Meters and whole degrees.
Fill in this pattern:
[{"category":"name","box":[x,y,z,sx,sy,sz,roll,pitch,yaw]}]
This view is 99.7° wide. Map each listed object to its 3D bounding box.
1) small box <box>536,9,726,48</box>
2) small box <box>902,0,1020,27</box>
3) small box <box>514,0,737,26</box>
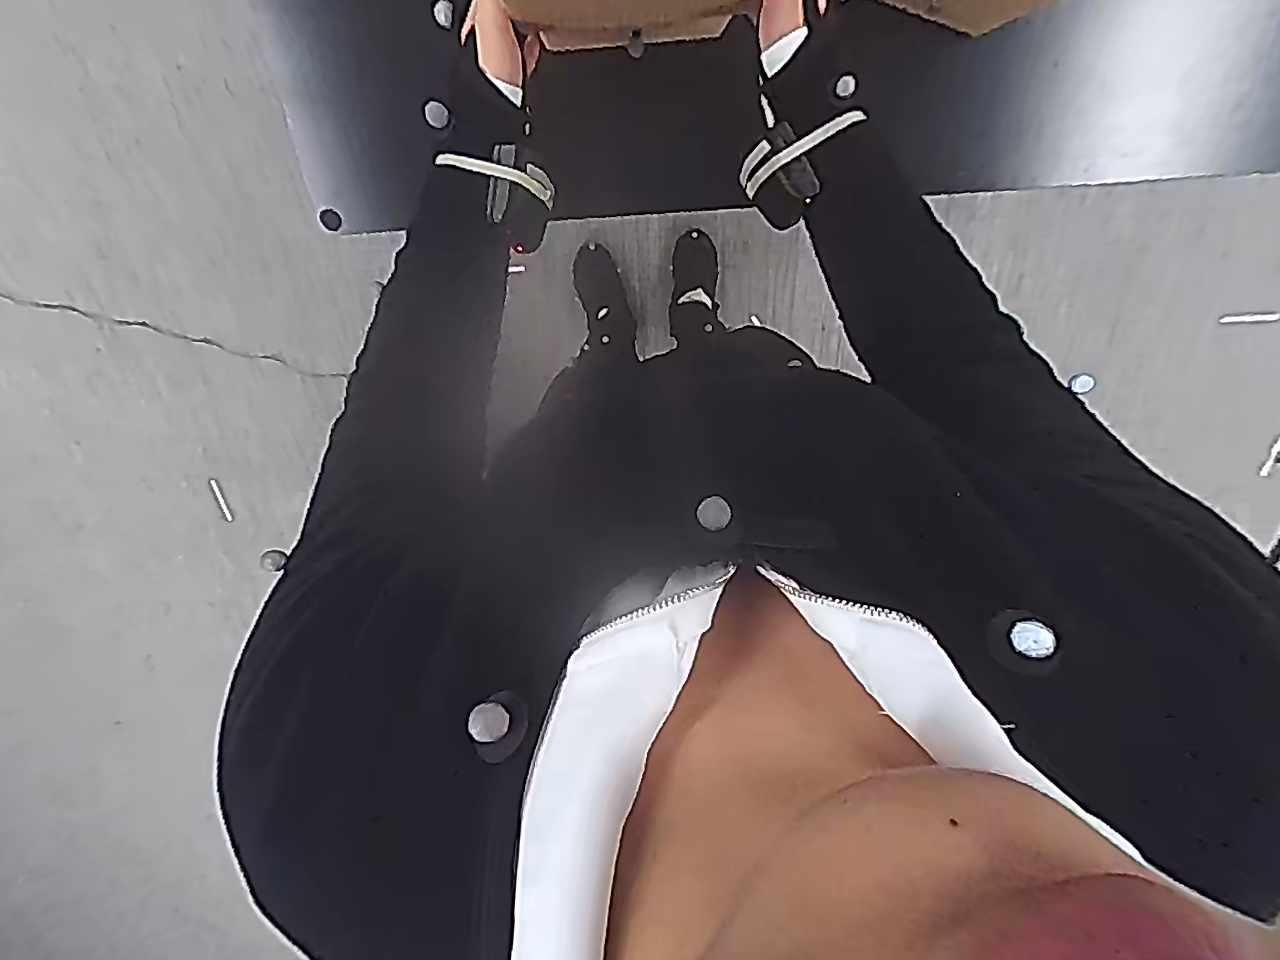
[{"category":"small box","box":[-0.012,-0.478,0.440,0.179,0.176,0.168,-5,118,0]},{"category":"small box","box":[0.281,-0.509,0.433,0.168,0.176,0.179,13,116,-9]},{"category":"small box","box":[-0.008,-0.384,0.303,0.179,0.176,0.168,-5,118,0]}]
